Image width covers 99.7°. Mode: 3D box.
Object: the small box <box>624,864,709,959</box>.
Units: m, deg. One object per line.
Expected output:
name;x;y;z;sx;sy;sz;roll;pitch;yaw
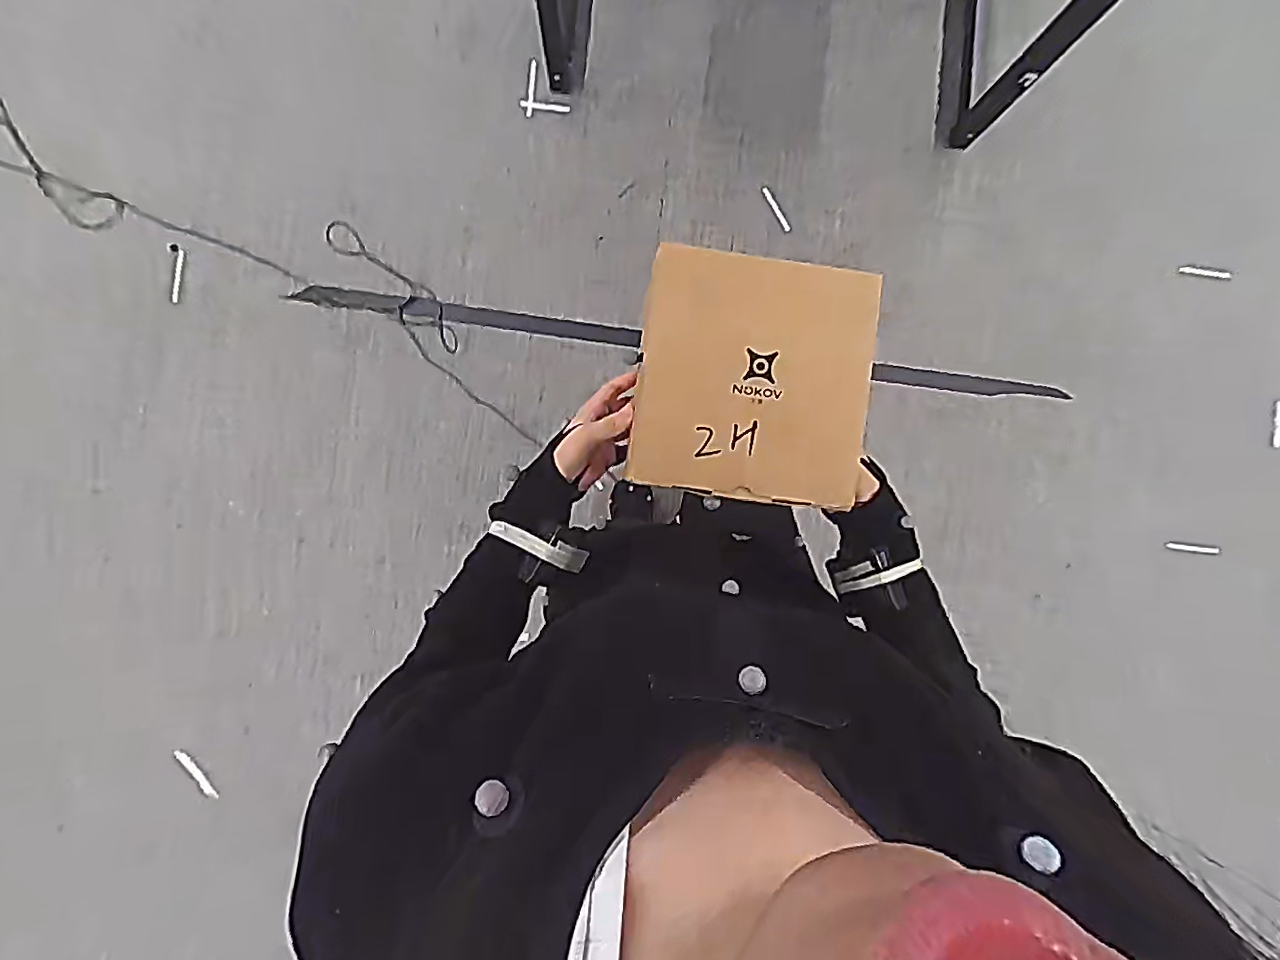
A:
small box;0.062;1.137;1.396;0.179;0.176;0.168;14;88;-4

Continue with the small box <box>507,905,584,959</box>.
small box;-0.239;1.232;1.384;0.179;0.176;0.168;0;91;-3

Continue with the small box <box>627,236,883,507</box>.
small box;0.081;-0.078;0.468;0.168;0.176;0.179;8;91;-3
